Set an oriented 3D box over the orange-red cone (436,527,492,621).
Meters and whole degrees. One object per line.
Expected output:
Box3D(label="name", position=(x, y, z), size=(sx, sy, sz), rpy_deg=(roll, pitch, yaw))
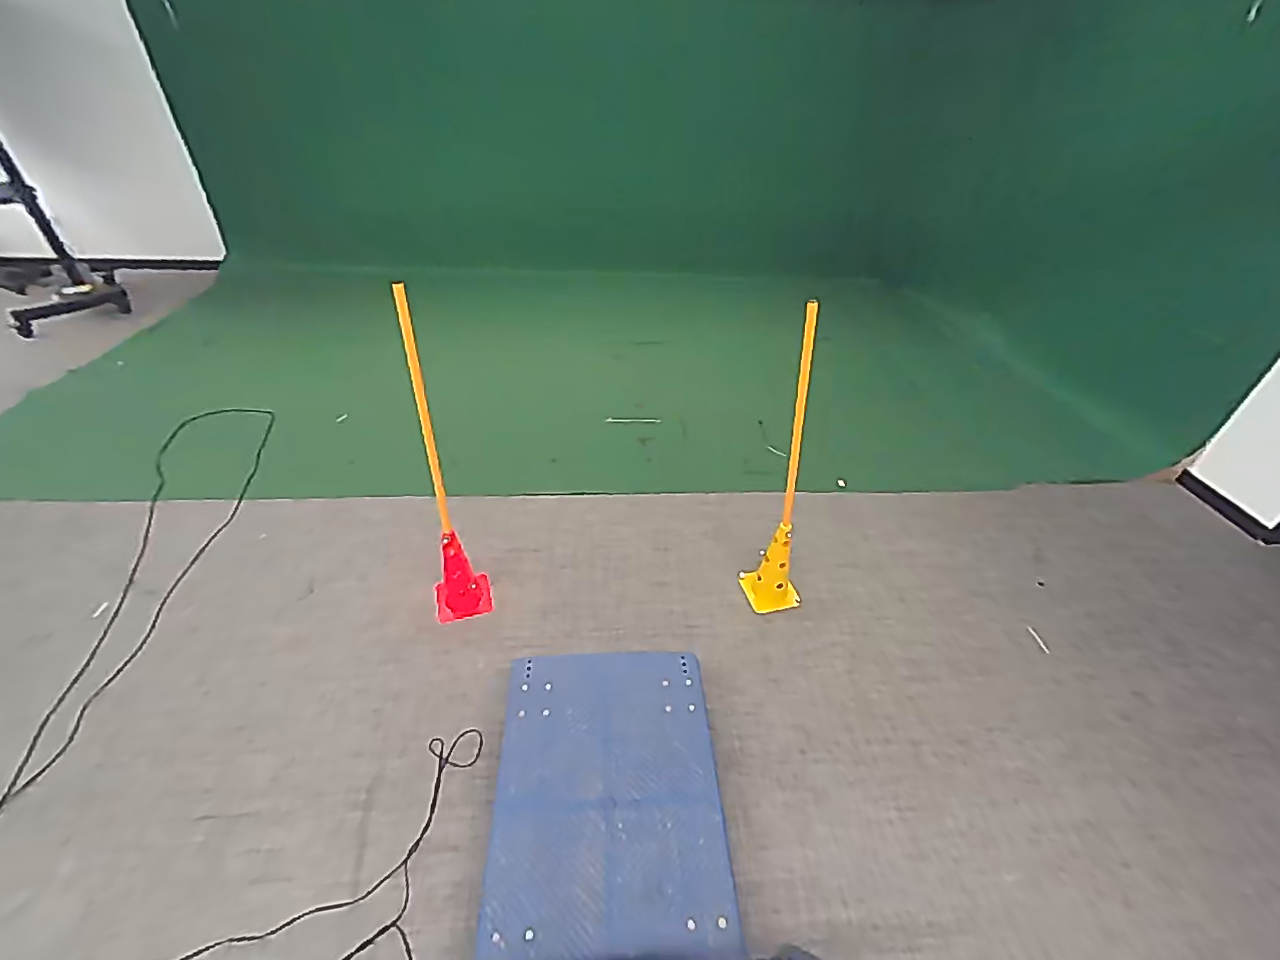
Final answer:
Box3D(label="orange-red cone", position=(-0.665, 0.309, 1.945), size=(0.199, 0.360, 0.198), rpy_deg=(-11, 40, -15))
